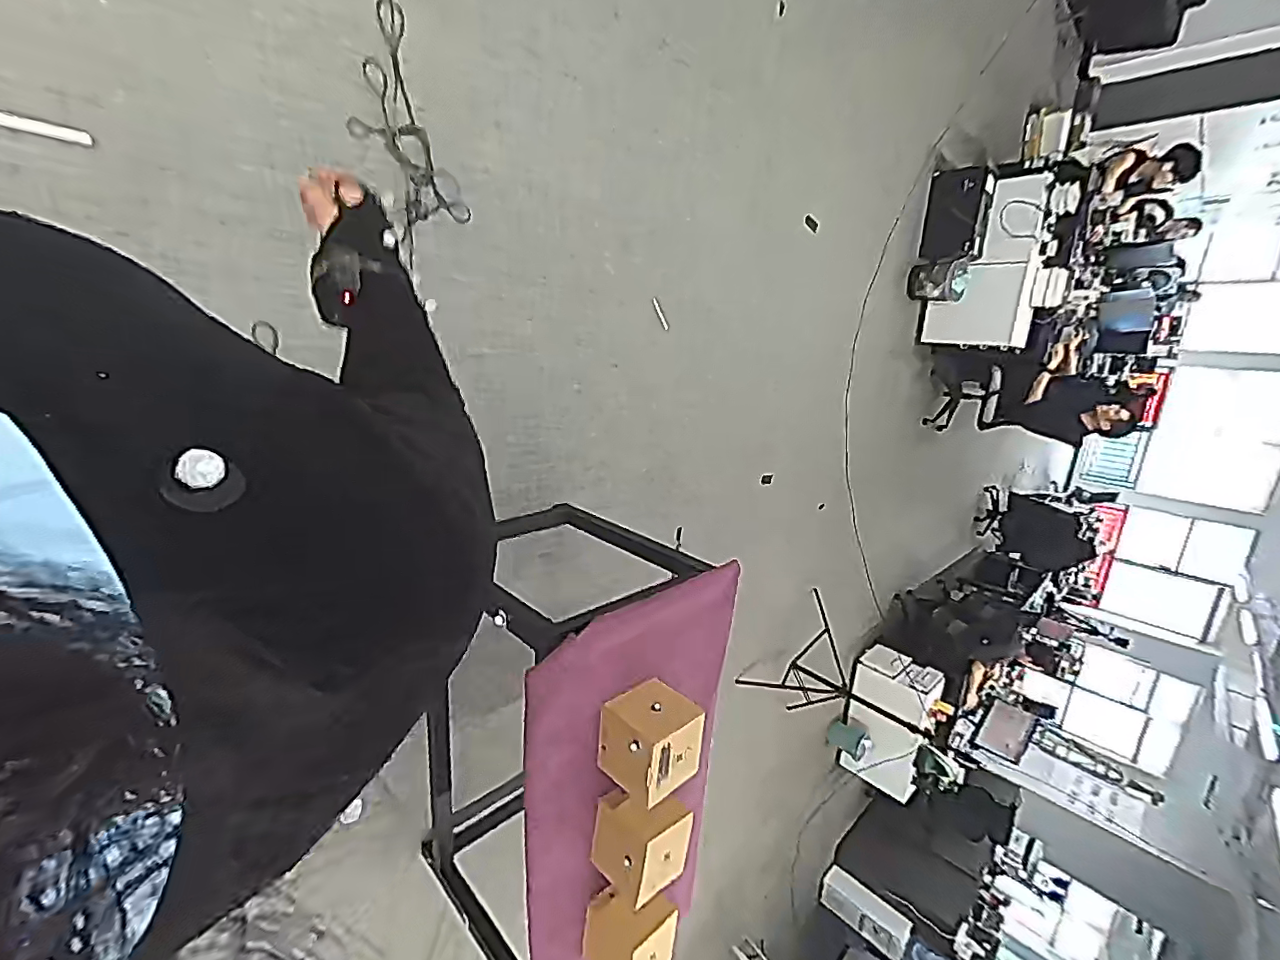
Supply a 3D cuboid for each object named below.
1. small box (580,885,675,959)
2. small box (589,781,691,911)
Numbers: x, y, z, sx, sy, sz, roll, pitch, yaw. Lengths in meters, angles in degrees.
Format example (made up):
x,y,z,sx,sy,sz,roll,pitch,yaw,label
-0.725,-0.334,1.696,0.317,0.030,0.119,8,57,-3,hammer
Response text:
x,y,z,sx,sy,sz,roll,pitch,yaw,label
-0.035,1.160,1.374,0.168,0.176,0.179,-6,107,-47,small box
-0.004,0.868,1.311,0.168,0.176,0.179,1,102,-46,small box
